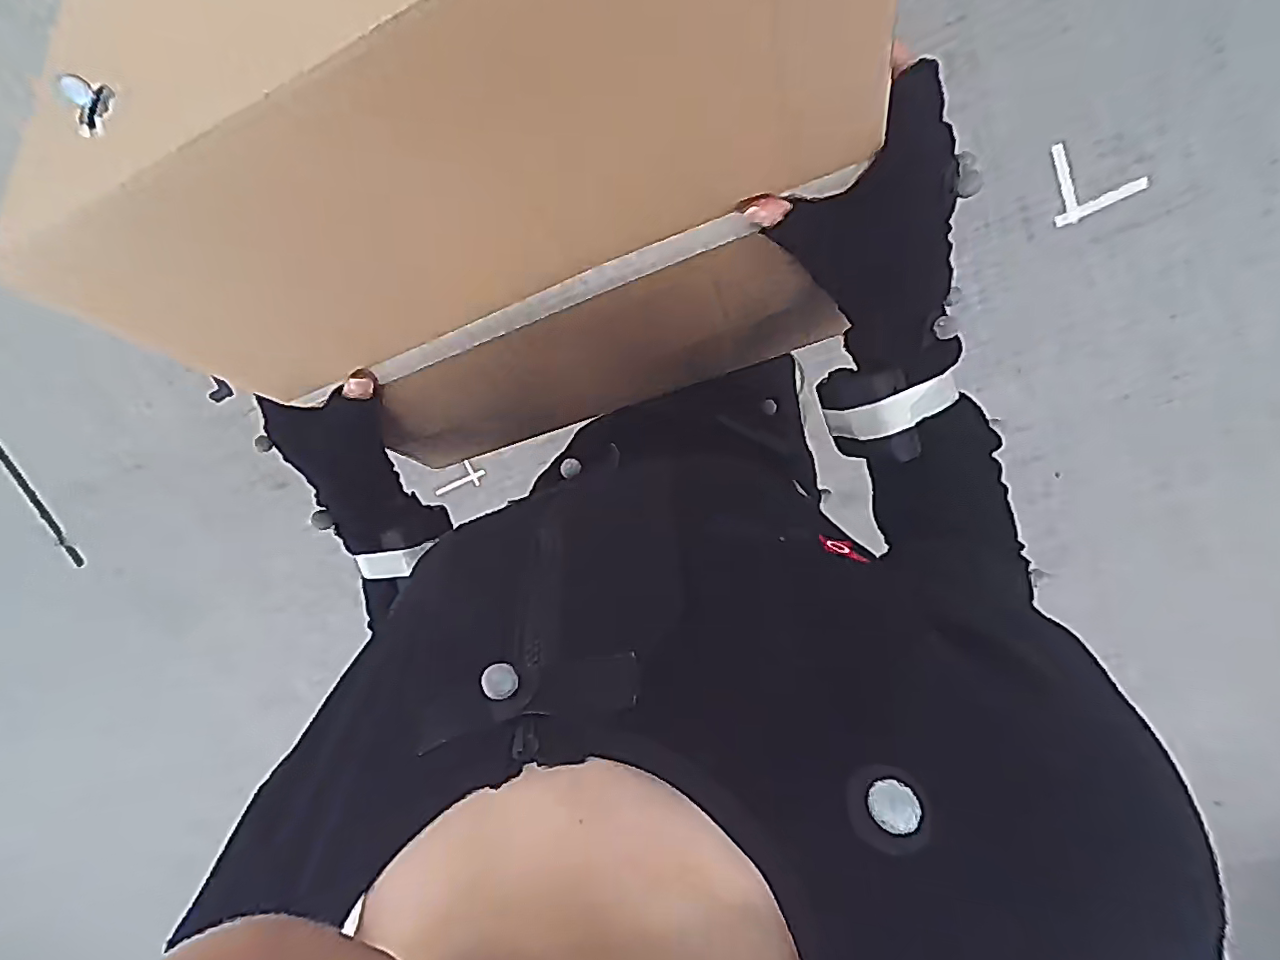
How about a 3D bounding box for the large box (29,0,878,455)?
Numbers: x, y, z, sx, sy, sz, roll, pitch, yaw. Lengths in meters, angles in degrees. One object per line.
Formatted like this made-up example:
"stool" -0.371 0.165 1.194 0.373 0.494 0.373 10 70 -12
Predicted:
"large box" -0.088 -0.259 0.392 0.408 0.320 0.320 -17 69 15
